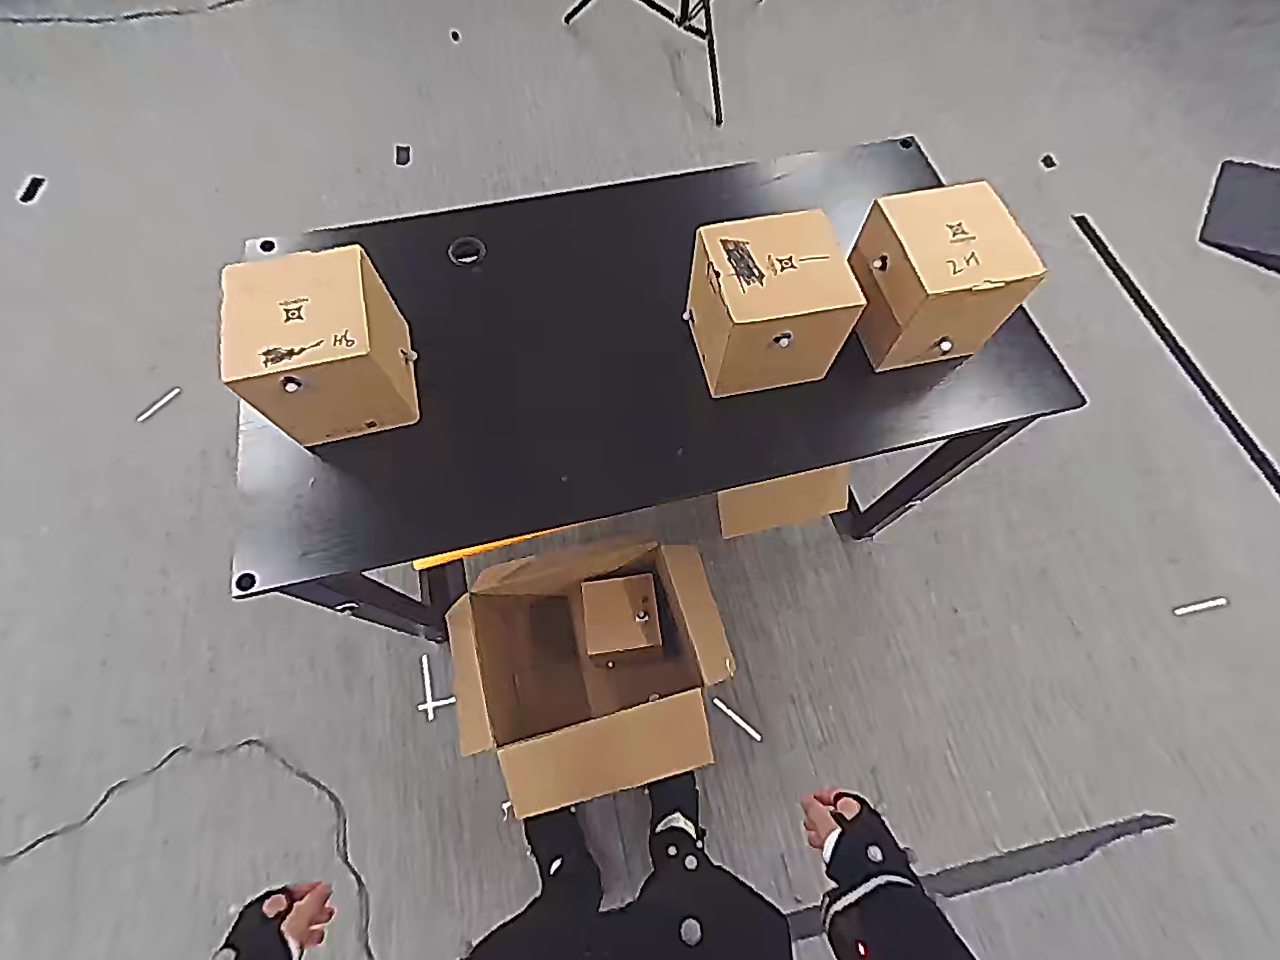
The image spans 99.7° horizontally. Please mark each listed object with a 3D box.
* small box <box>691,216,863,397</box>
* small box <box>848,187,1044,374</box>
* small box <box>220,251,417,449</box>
[{"bbox_3d":[0.173,-0.234,0.757,0.179,0.176,0.168,-10,67,-6],"label":"small box"},{"bbox_3d":[0.413,-0.281,0.780,0.168,0.176,0.179,-11,67,-4],"label":"small box"},{"bbox_3d":[-0.412,-0.166,0.718,0.168,0.176,0.179,-13,67,-7],"label":"small box"}]
